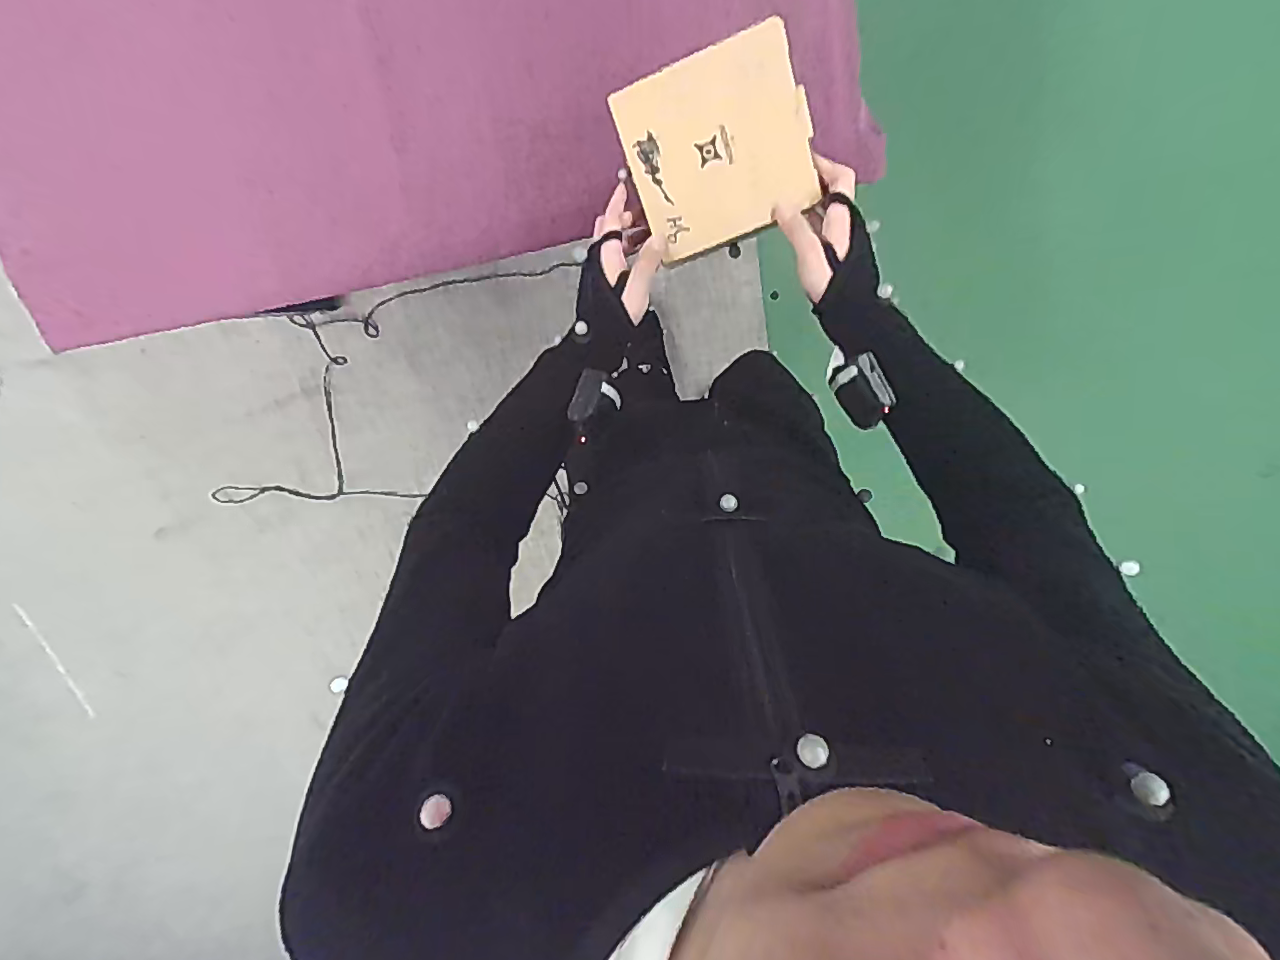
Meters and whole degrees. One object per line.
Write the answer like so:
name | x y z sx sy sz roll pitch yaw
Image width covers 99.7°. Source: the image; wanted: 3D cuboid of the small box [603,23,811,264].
small box | 0.075 -0.360 0.619 0.179 0.176 0.168 -17 107 12
